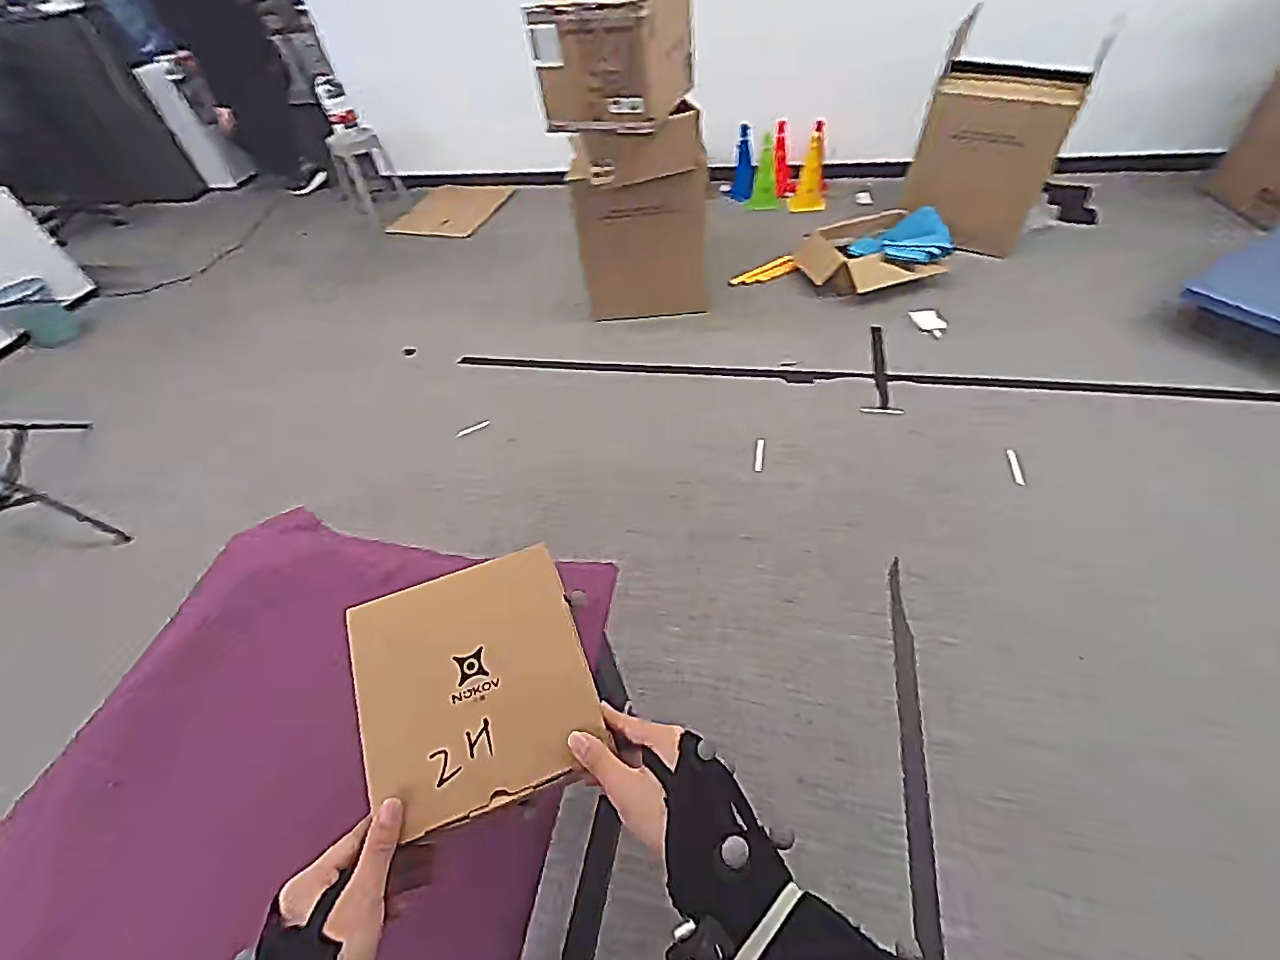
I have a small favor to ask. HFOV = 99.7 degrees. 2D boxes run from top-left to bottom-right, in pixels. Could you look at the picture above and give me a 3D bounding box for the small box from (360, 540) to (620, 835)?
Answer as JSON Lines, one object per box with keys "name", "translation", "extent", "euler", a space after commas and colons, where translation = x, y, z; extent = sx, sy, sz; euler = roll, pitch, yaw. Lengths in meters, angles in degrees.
{"name": "small box", "translation": [-0.122, 0.183, 0.478], "extent": [0.168, 0.176, 0.179], "euler": [-18, 62, -10]}
